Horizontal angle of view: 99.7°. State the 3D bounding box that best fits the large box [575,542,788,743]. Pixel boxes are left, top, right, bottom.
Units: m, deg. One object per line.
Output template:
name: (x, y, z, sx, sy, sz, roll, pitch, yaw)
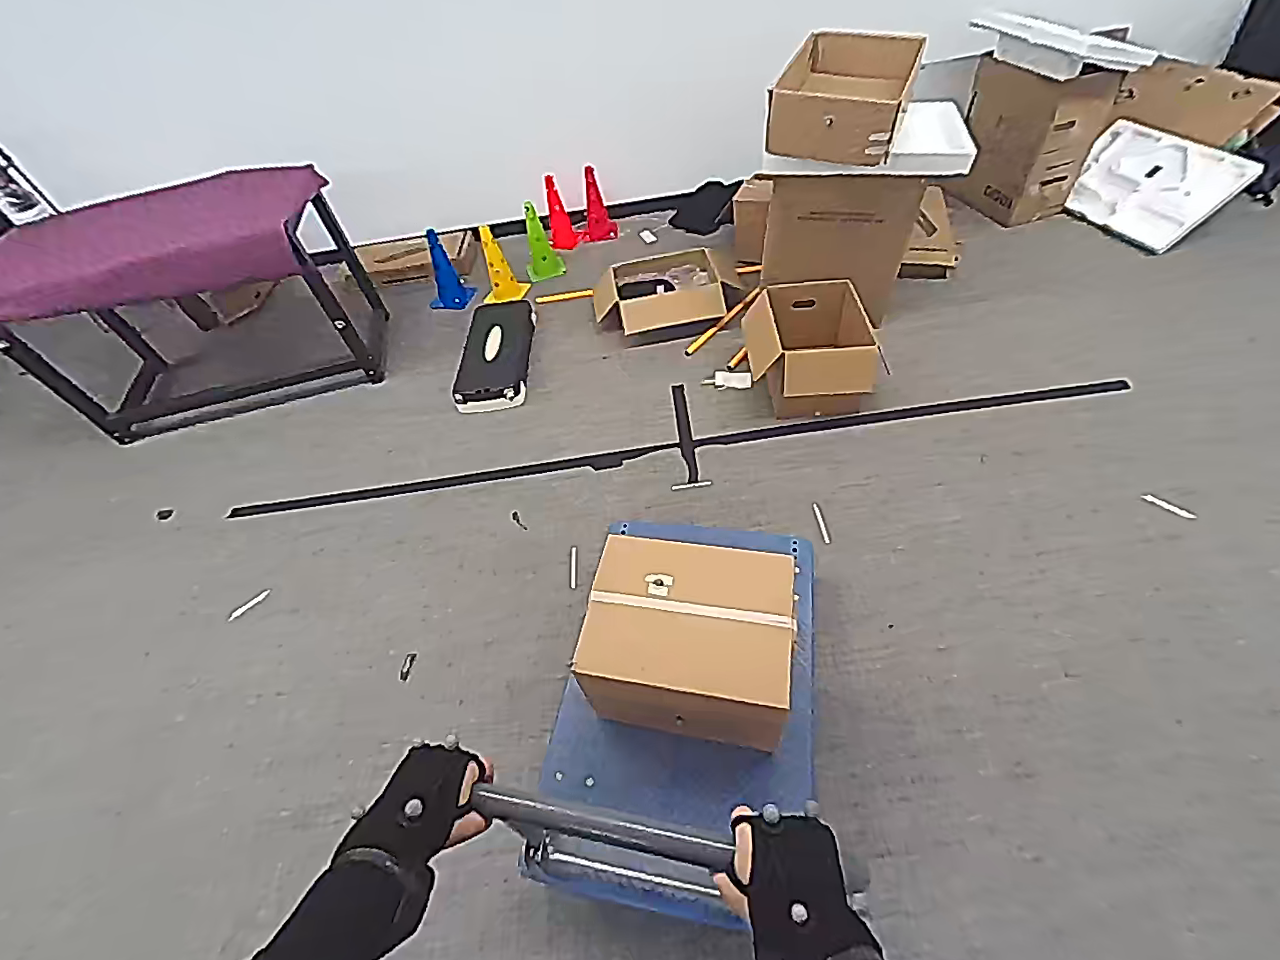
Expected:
large box: (0.114, 0.363, 1.207, 0.408, 0.320, 0.320, 4, 51, 13)
